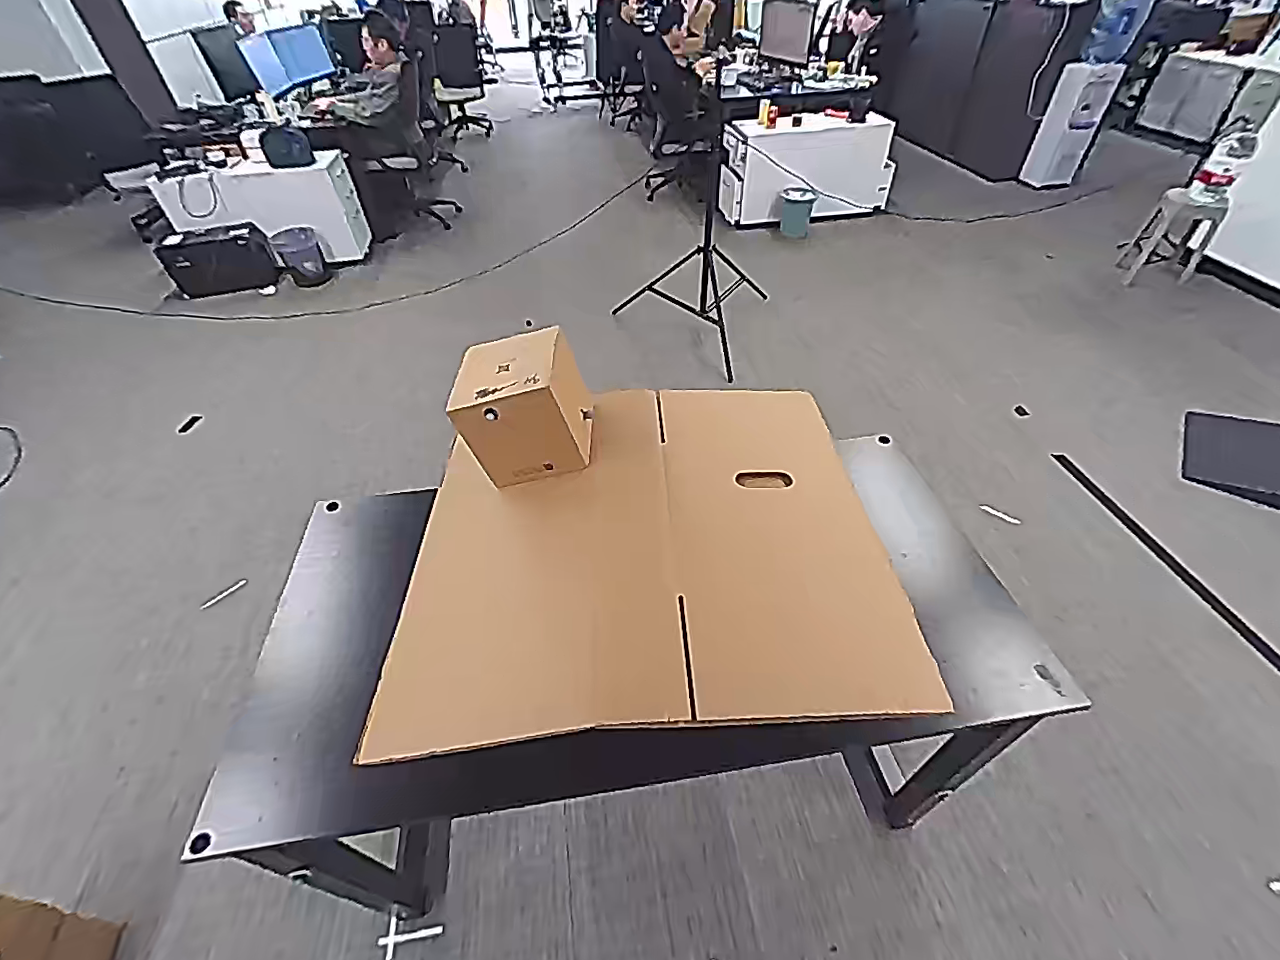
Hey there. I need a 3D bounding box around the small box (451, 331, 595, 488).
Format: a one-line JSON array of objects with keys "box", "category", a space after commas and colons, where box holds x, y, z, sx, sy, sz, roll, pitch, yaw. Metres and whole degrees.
[{"box": [-0.180, -0.114, 0.892, 0.168, 0.176, 0.179, -13, 43, 11], "category": "small box"}]

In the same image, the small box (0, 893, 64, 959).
[{"box": [-1.207, 0.879, 0.963, 0.168, 0.176, 0.179, -12, 44, -10], "category": "small box"}]

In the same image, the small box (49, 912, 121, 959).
[{"box": [-1.199, 0.998, 1.072, 0.168, 0.176, 0.179, -10, 46, -7], "category": "small box"}]
